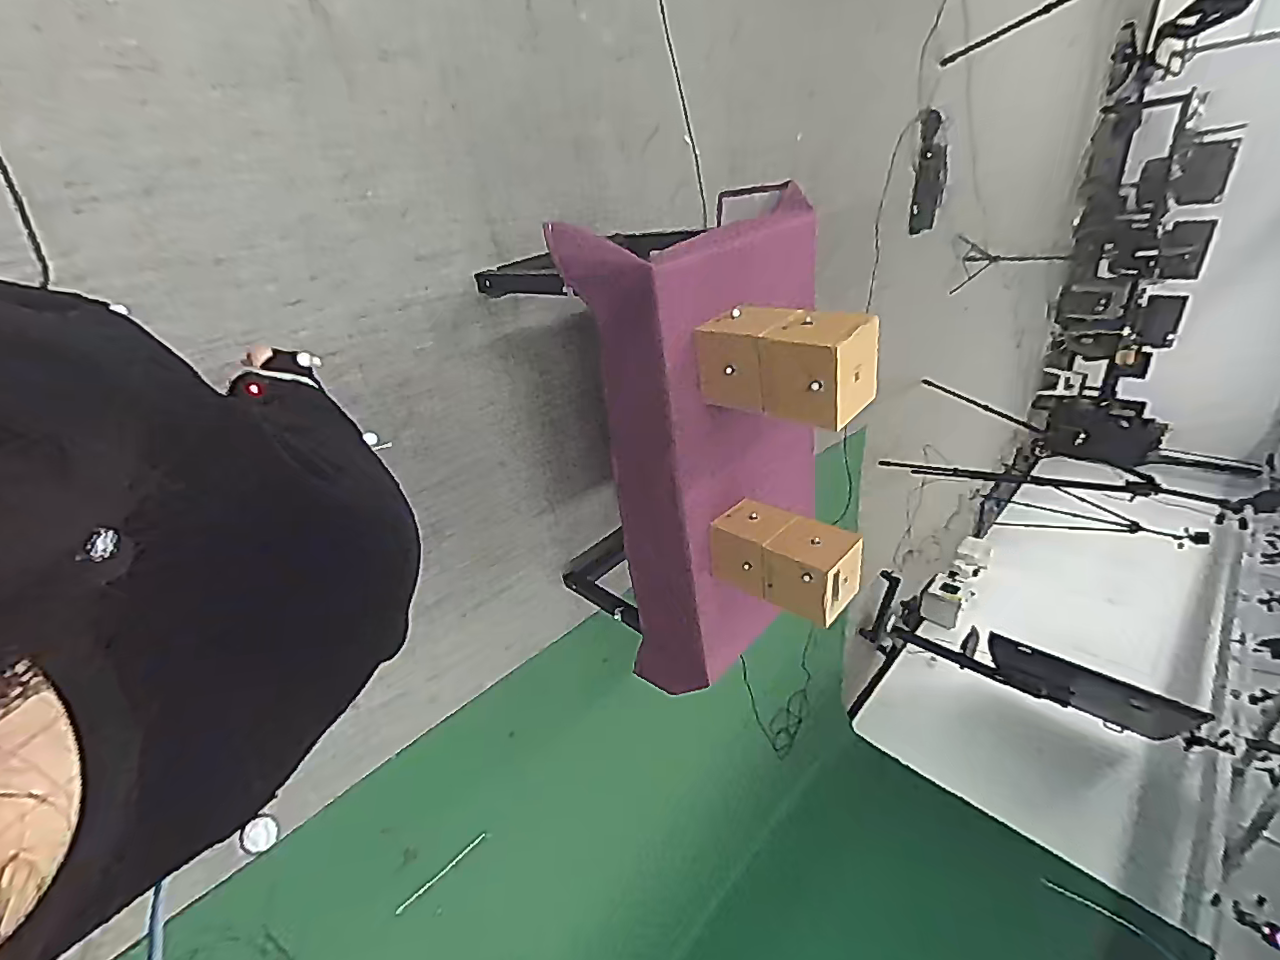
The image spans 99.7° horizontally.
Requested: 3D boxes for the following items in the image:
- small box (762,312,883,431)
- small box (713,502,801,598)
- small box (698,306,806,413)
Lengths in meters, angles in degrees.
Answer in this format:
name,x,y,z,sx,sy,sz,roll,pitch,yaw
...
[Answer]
name,x,y,z,sx,sy,sz,roll,pitch,yaw
small box,0.362,-0.223,1.083,0.168,0.176,0.179,-36,128,-32
small box,0.305,0.172,1.426,0.168,0.176,0.179,-28,124,-36
small box,0.248,-0.271,1.188,0.168,0.176,0.179,-35,127,-33
